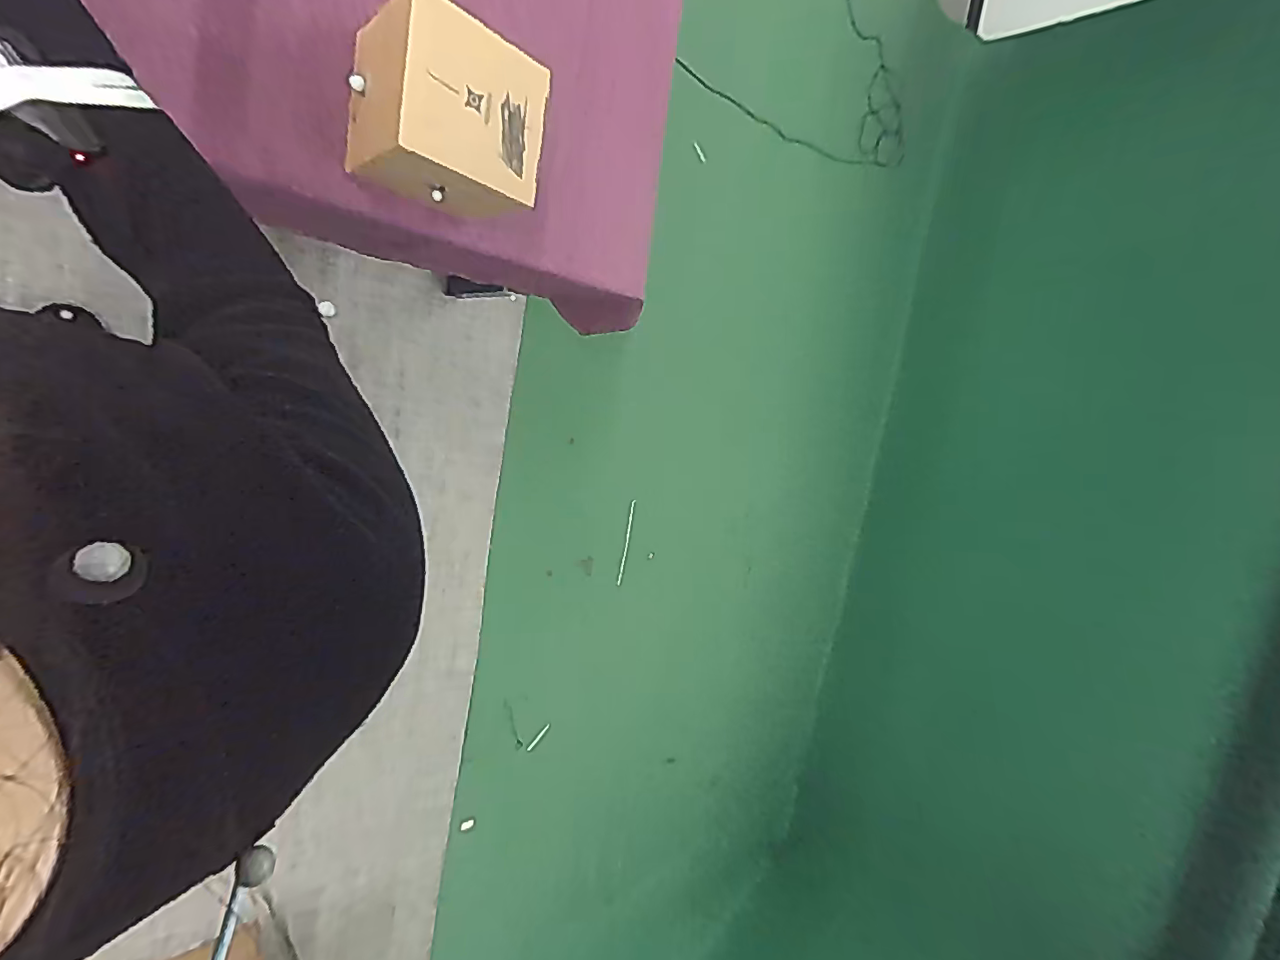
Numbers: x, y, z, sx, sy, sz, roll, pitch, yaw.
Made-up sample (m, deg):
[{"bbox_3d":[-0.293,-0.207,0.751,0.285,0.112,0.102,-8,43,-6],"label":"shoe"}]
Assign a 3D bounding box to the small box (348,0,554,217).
[{"bbox_3d":[-0.237,-0.446,0.674,0.179,0.176,0.168,2,100,-46],"label":"small box"}]
